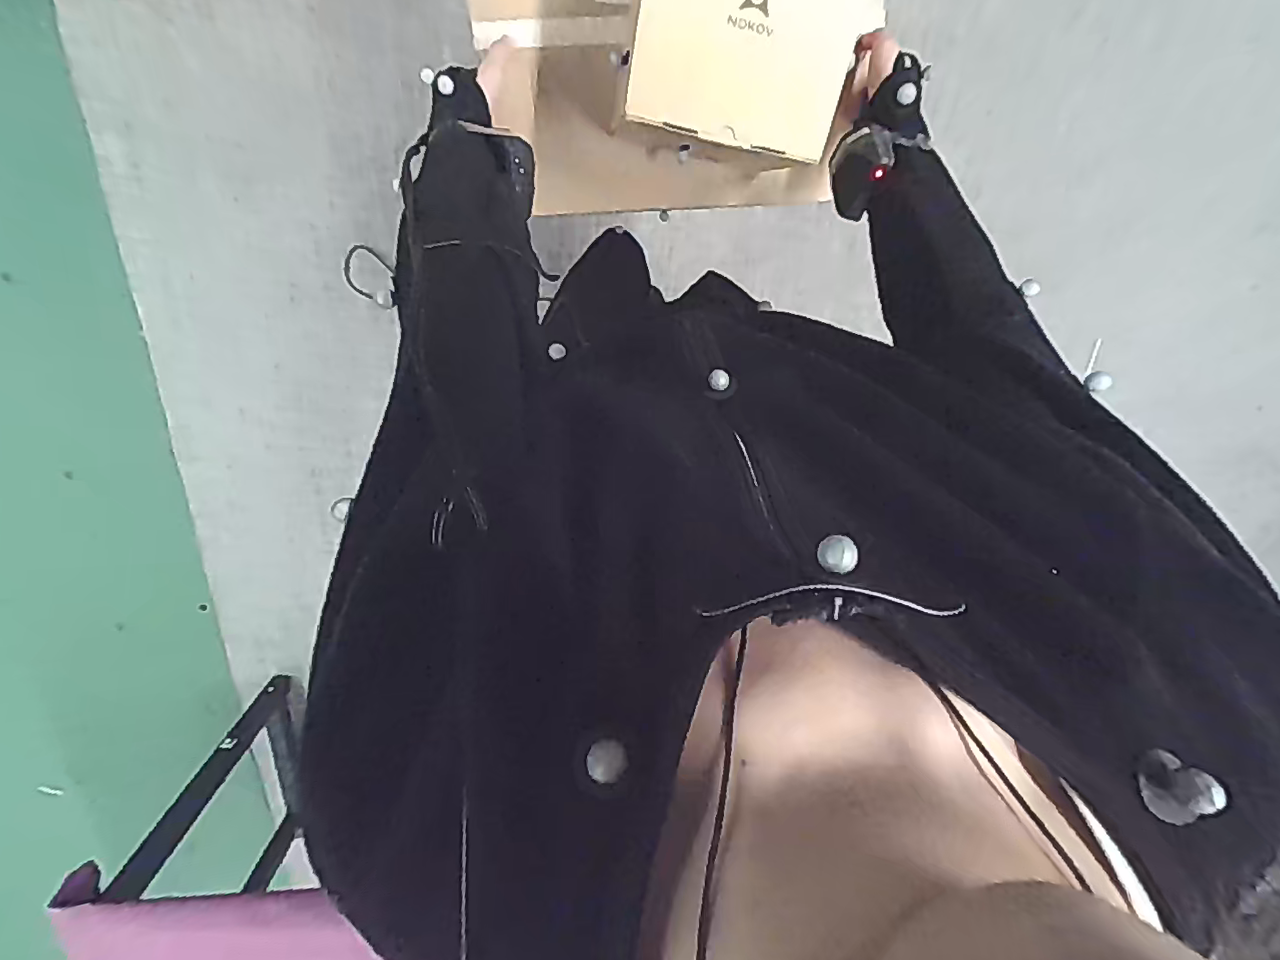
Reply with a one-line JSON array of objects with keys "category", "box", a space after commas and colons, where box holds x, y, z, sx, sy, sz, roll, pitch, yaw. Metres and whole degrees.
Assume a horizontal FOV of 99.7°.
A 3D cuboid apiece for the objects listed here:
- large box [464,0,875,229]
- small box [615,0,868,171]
[{"category": "large box", "box": [0.026, -0.499, 0.665, 0.408, 0.320, 0.320, -5, 116, -2]}, {"category": "small box", "box": [0.073, -0.378, 0.456, 0.168, 0.176, 0.179, 7, 117, -10]}]
